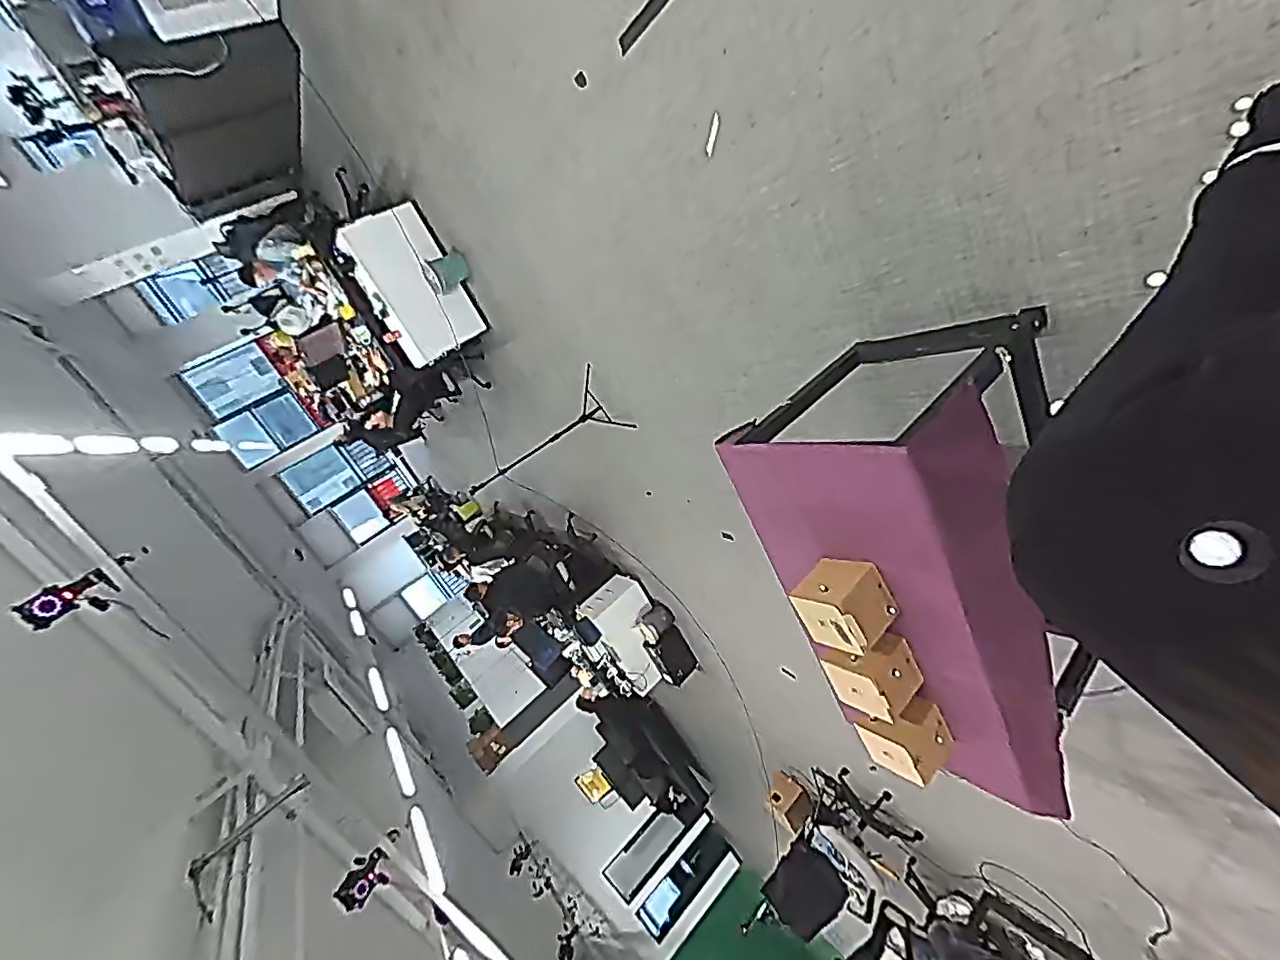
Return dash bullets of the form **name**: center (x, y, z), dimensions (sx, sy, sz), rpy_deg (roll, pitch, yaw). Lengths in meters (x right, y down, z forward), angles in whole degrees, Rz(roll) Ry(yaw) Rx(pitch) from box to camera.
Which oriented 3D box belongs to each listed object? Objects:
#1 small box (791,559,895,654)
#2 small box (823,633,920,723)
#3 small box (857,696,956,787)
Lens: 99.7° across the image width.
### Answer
- **small box**: center (0.545, 0.327, 1.434), dimensions (0.168, 0.176, 0.179), rpy_deg (58, 156, -12)
- **small box**: center (0.659, 0.535, 1.522), dimensions (0.179, 0.176, 0.168), rpy_deg (2, 126, 60)
- **small box**: center (0.781, 0.744, 1.586), dimensions (0.168, 0.176, 0.179), rpy_deg (59, 155, -16)
